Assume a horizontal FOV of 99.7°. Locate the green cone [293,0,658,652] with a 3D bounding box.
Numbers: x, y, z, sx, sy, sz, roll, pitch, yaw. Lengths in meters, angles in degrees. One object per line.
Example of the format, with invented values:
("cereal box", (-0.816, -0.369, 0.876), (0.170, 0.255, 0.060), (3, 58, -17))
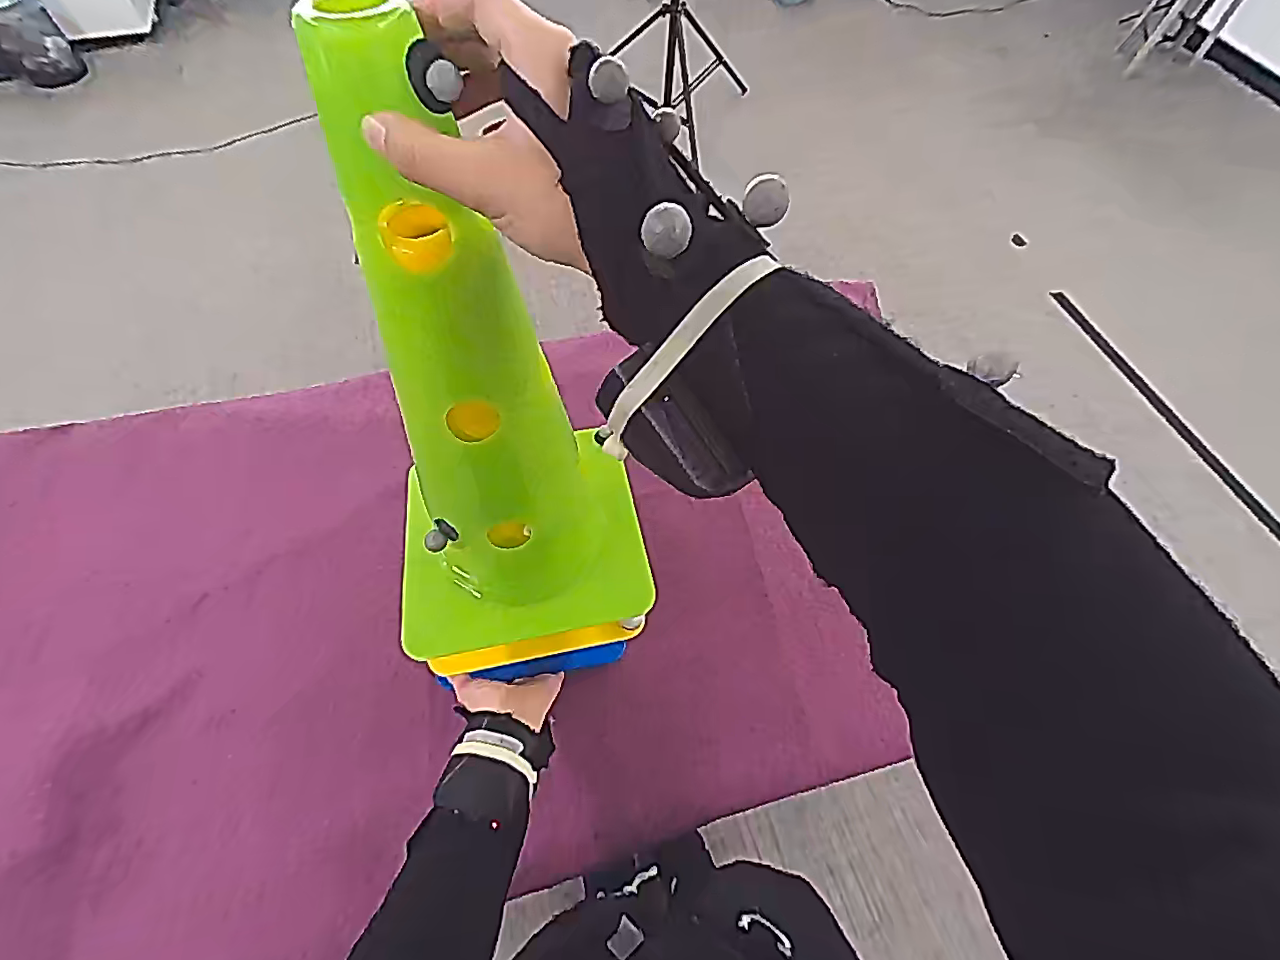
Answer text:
("green cone", (-0.099, -0.064, 0.326), (0.200, 0.368, 0.202), (-11, 55, -7))
